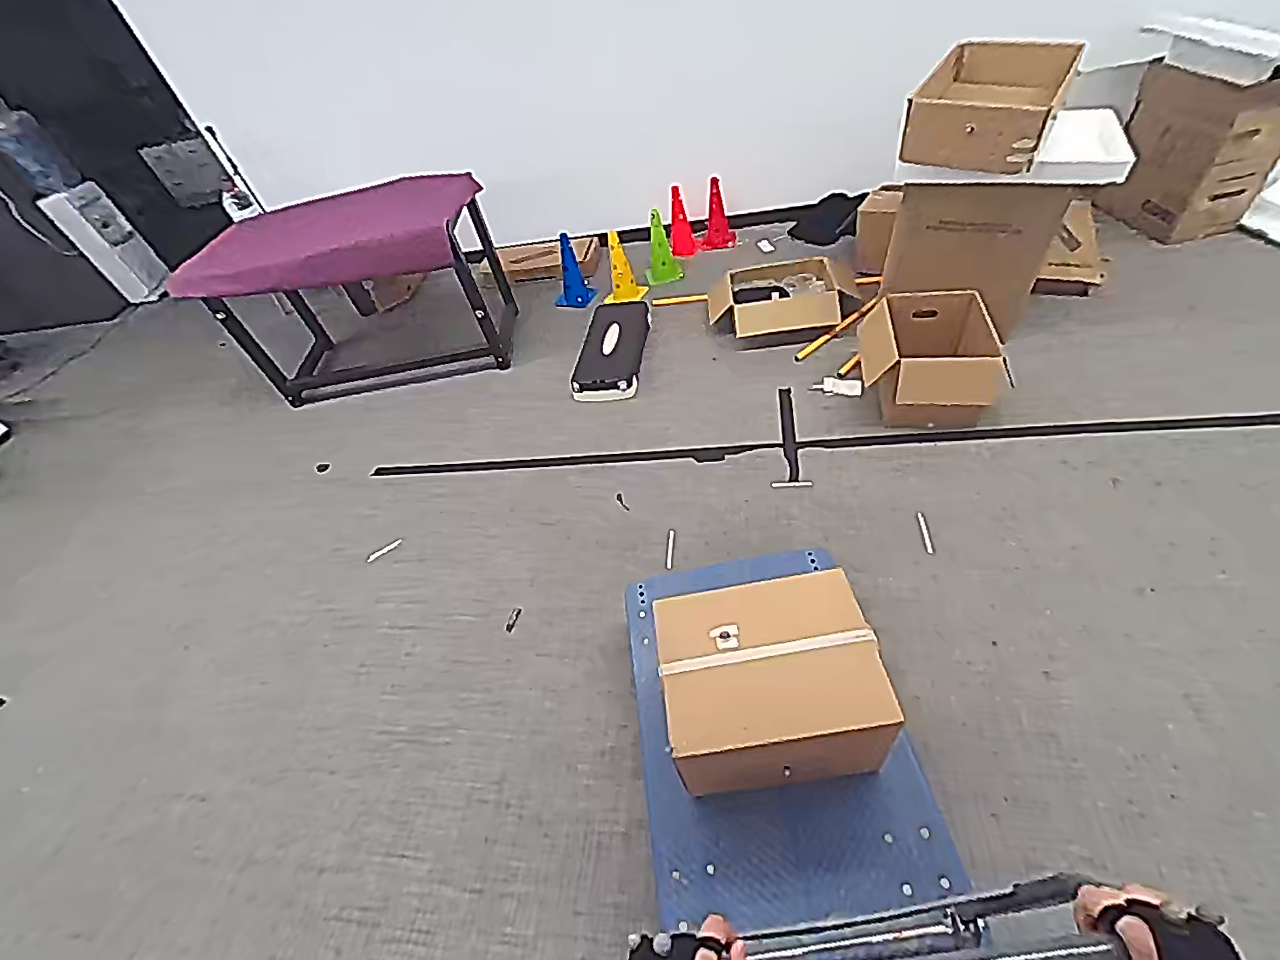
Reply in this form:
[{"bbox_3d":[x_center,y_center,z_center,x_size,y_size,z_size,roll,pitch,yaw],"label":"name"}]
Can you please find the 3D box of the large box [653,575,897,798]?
[{"bbox_3d":[0.267,0.448,1.154,0.408,0.320,0.320,-12,46,4],"label":"large box"}]
